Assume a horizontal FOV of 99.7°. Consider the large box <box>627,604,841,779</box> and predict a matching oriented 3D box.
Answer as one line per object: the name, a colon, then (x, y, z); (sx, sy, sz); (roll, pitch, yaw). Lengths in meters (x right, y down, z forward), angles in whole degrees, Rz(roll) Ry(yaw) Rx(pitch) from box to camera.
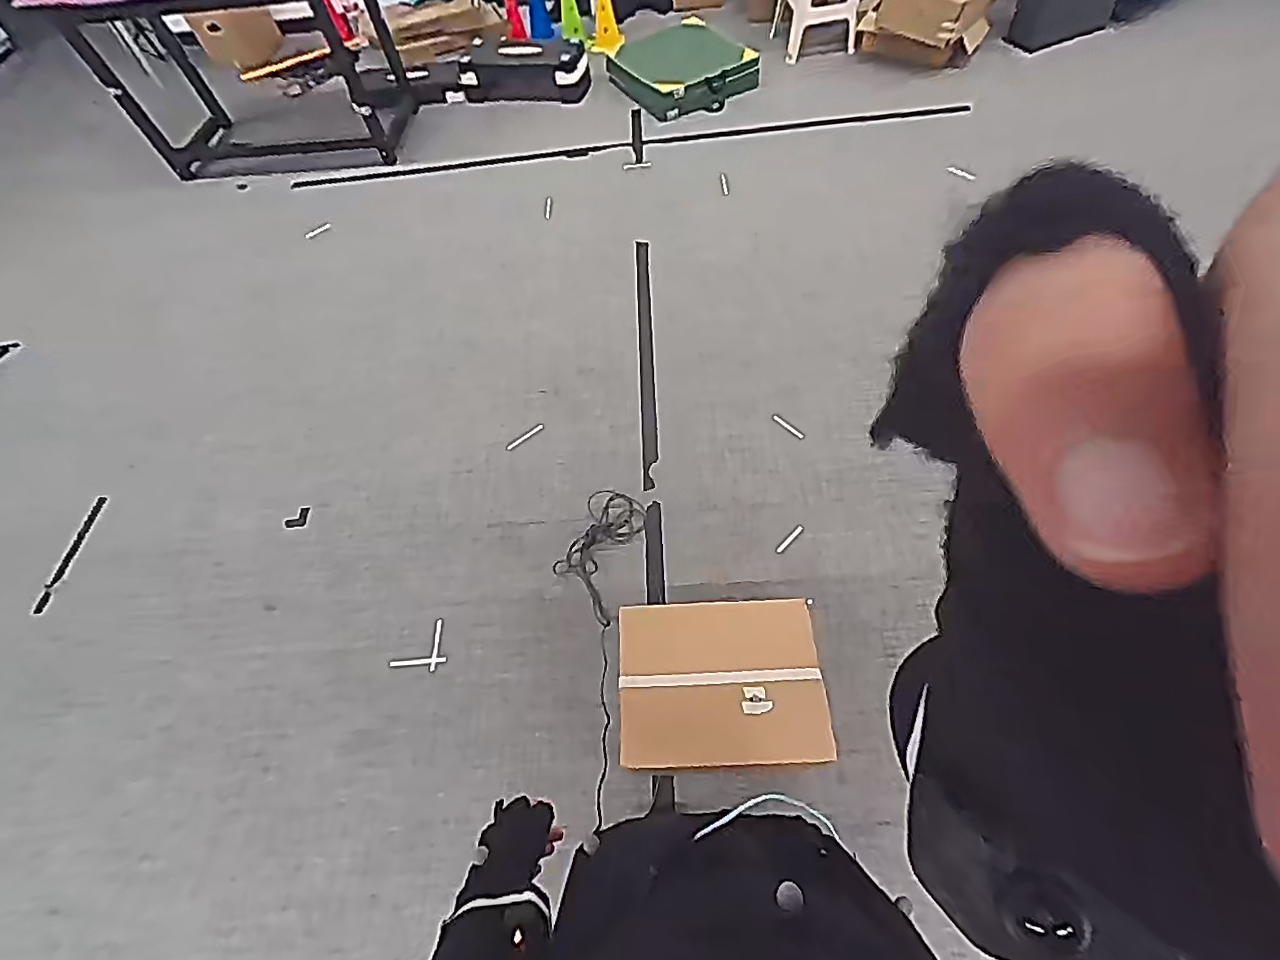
large box: (0.181, 0.484, 1.216); (0.408, 0.320, 0.320); (-2, 60, 2)
